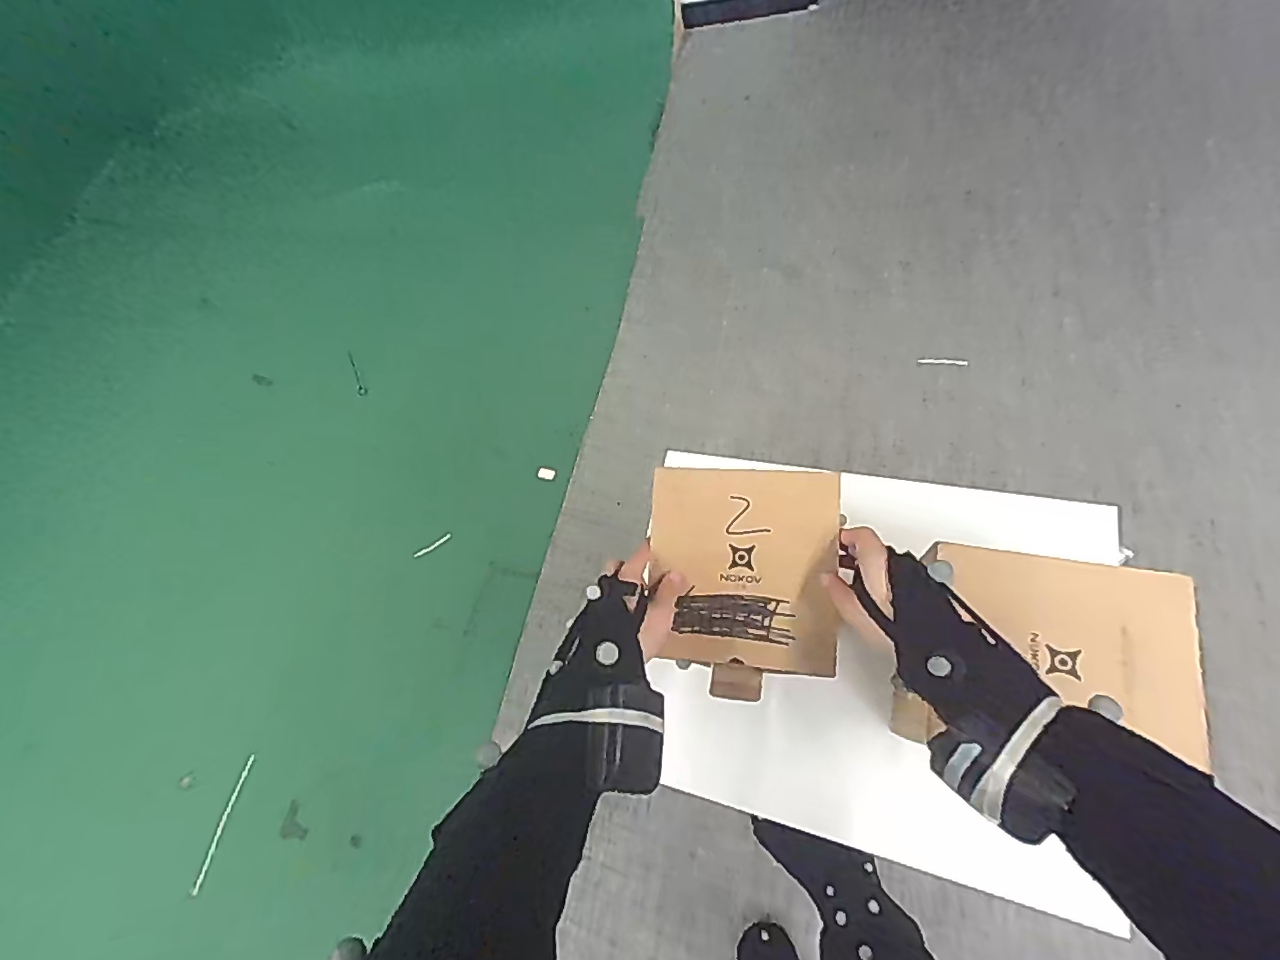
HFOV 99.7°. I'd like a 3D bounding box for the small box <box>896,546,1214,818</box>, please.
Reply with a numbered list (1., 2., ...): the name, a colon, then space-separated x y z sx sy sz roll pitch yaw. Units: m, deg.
1. small box: 0.337 0.169 0.480 0.179 0.176 0.168 7 71 18
